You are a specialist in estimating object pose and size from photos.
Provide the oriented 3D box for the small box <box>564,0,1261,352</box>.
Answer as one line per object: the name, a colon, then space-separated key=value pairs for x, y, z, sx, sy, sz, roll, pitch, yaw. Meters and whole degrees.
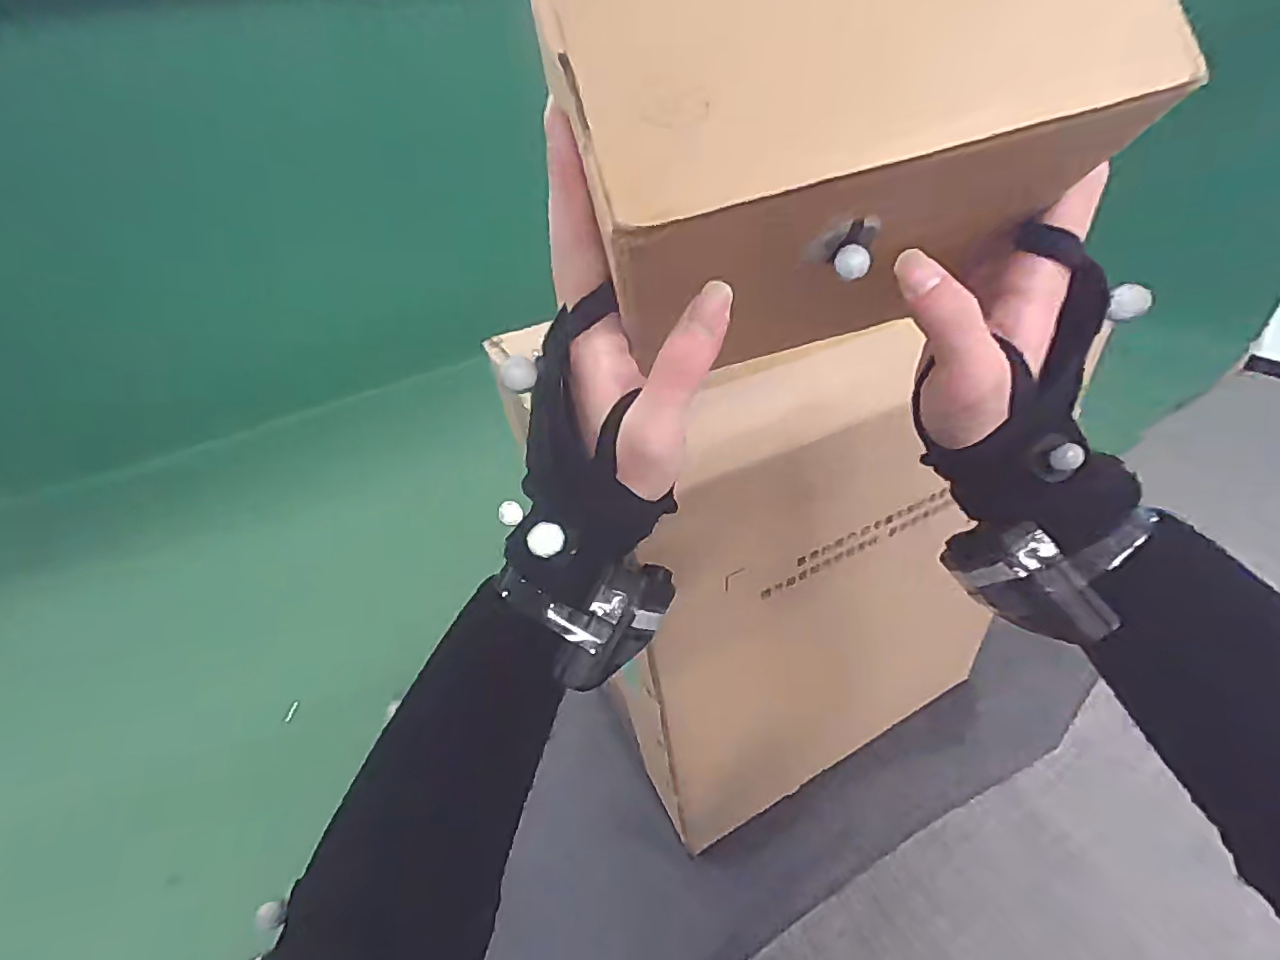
small box: x=0.066 y=-0.172 z=0.232 sx=0.179 sy=0.168 sz=0.176 roll=-15 pitch=-6 yaw=-3
